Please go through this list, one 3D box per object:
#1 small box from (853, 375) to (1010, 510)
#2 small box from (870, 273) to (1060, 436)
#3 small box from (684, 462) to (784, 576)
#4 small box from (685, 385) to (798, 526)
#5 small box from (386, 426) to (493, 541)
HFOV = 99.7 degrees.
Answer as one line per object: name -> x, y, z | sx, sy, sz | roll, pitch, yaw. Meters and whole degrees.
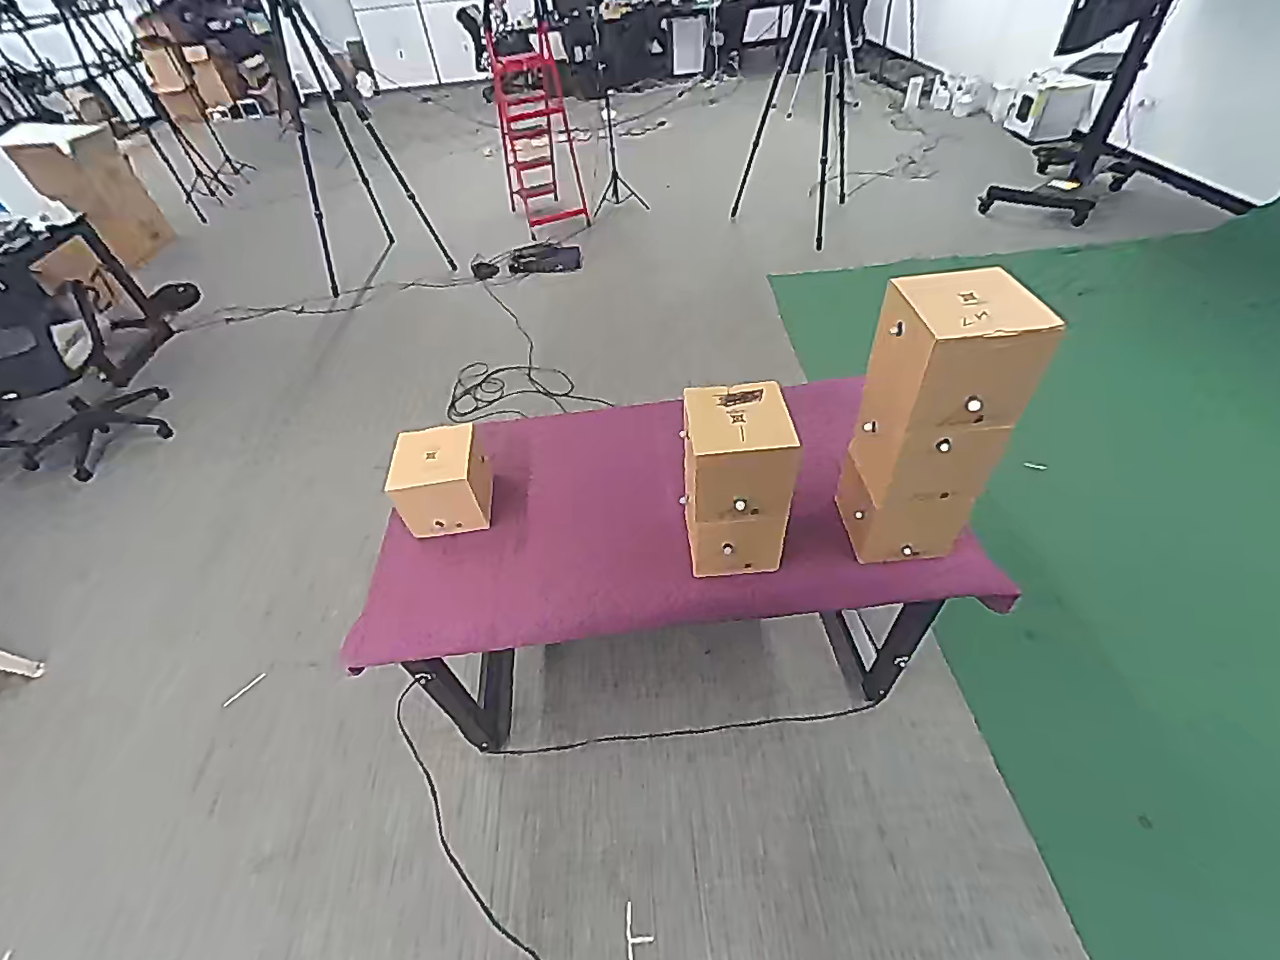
small box -> 0.481, -0.071, 0.929 | 0.168, 0.176, 0.179 | -5, 45, 4
small box -> 0.465, -0.188, 0.813 | 0.168, 0.176, 0.179 | -5, 46, 3
small box -> 0.178, 0.074, 1.057 | 0.168, 0.176, 0.179 | -5, 45, 2
small box -> 0.166, -0.042, 0.942 | 0.168, 0.176, 0.179 | -5, 46, 2
small box -> -0.428, 0.008, 1.186 | 0.168, 0.176, 0.179 | -9, 47, -2
